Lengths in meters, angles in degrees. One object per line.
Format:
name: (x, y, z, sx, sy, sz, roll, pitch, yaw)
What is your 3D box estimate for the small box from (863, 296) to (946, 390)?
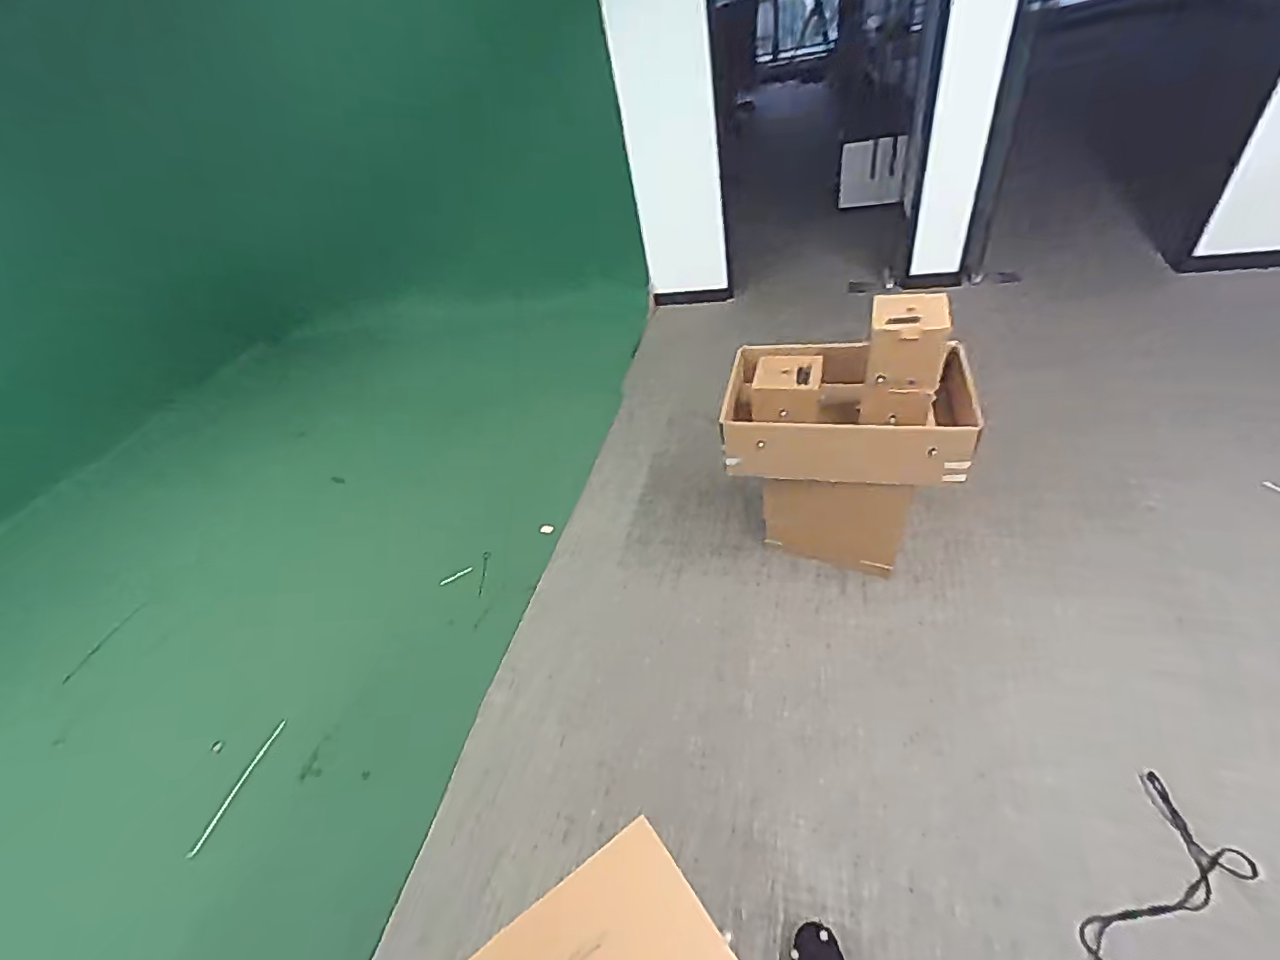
small box: (0.656, -0.339, 1.350, 0.168, 0.176, 0.179, 6, 45, 20)

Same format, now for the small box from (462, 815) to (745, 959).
small box: (-0.009, 0.392, 0.388, 0.168, 0.176, 0.179, -25, 50, -25)
